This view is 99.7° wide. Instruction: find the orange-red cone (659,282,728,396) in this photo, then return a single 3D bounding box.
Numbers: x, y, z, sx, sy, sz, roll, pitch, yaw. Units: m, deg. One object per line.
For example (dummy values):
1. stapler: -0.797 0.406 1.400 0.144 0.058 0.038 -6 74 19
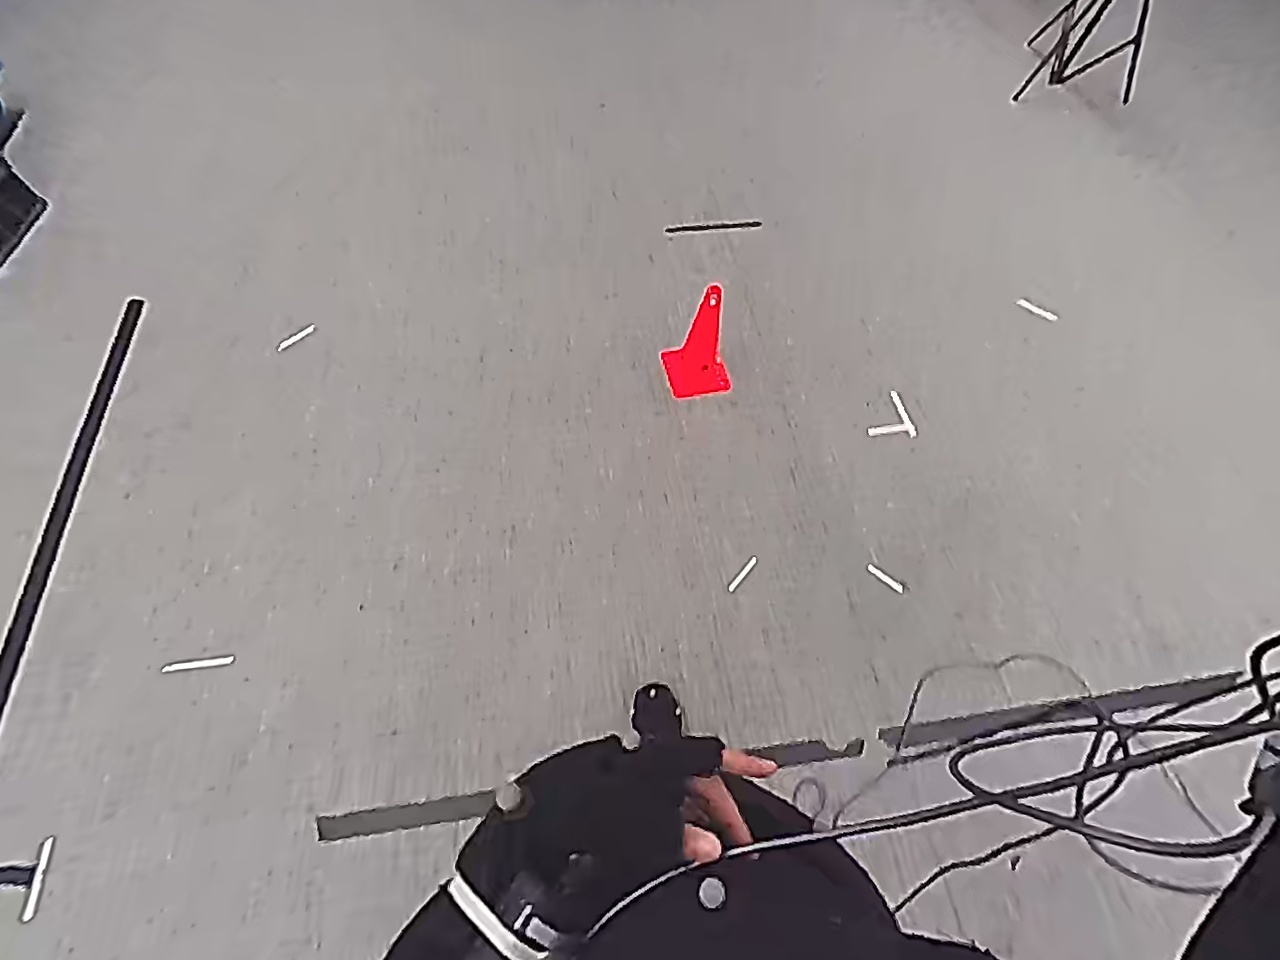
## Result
1. orange-red cone: 0.179 -0.441 1.615 0.199 0.360 0.198 -11 63 -7
